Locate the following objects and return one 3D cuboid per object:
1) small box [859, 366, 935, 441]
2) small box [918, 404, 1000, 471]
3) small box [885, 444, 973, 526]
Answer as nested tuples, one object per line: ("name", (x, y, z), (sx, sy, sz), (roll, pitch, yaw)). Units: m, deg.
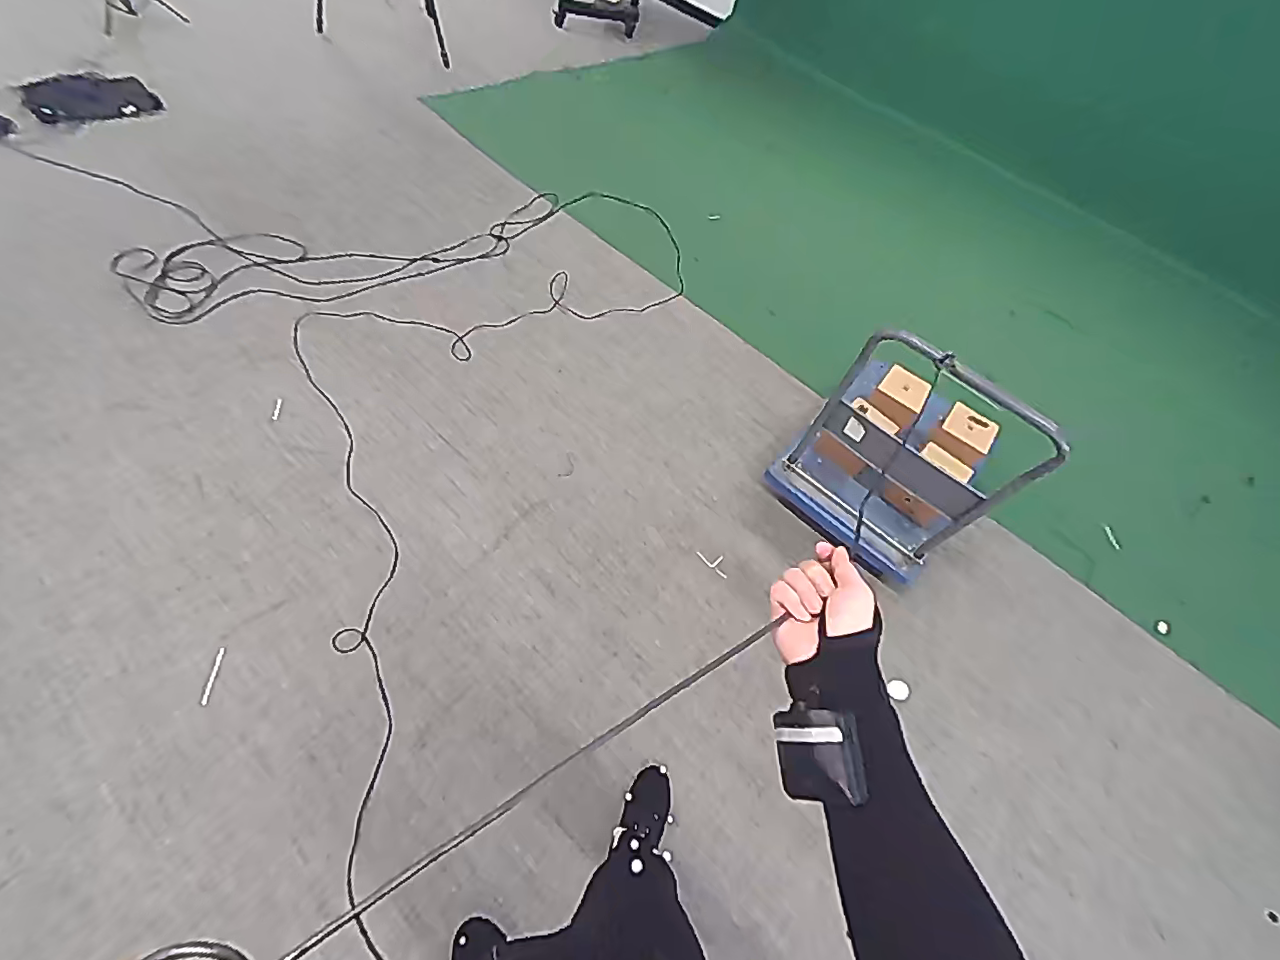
("small box", (0.941, -0.278, 1.997), (0.168, 0.176, 0.179), (38, 58, 13))
("small box", (1.136, -0.131, 1.937), (0.168, 0.176, 0.179), (37, 59, 14))
("small box", (0.957, 0.020, 1.803), (0.168, 0.176, 0.179), (42, 60, 16))
